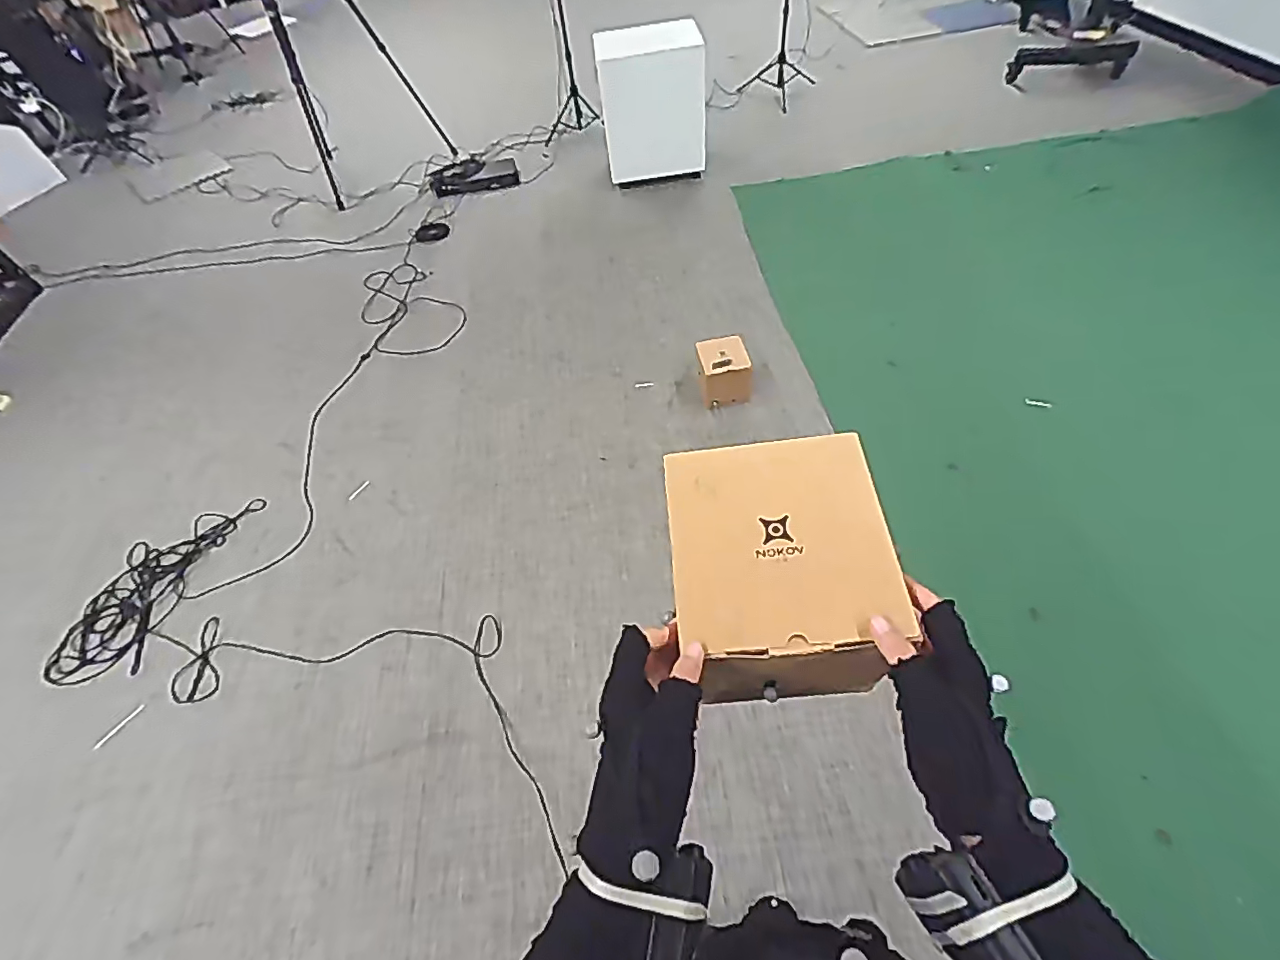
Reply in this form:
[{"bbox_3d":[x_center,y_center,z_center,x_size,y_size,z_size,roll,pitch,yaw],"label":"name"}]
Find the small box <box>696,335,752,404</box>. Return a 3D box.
[{"bbox_3d":[0.304,-0.394,1.959,0.168,0.176,0.179,-10,53,-1],"label":"small box"}]
